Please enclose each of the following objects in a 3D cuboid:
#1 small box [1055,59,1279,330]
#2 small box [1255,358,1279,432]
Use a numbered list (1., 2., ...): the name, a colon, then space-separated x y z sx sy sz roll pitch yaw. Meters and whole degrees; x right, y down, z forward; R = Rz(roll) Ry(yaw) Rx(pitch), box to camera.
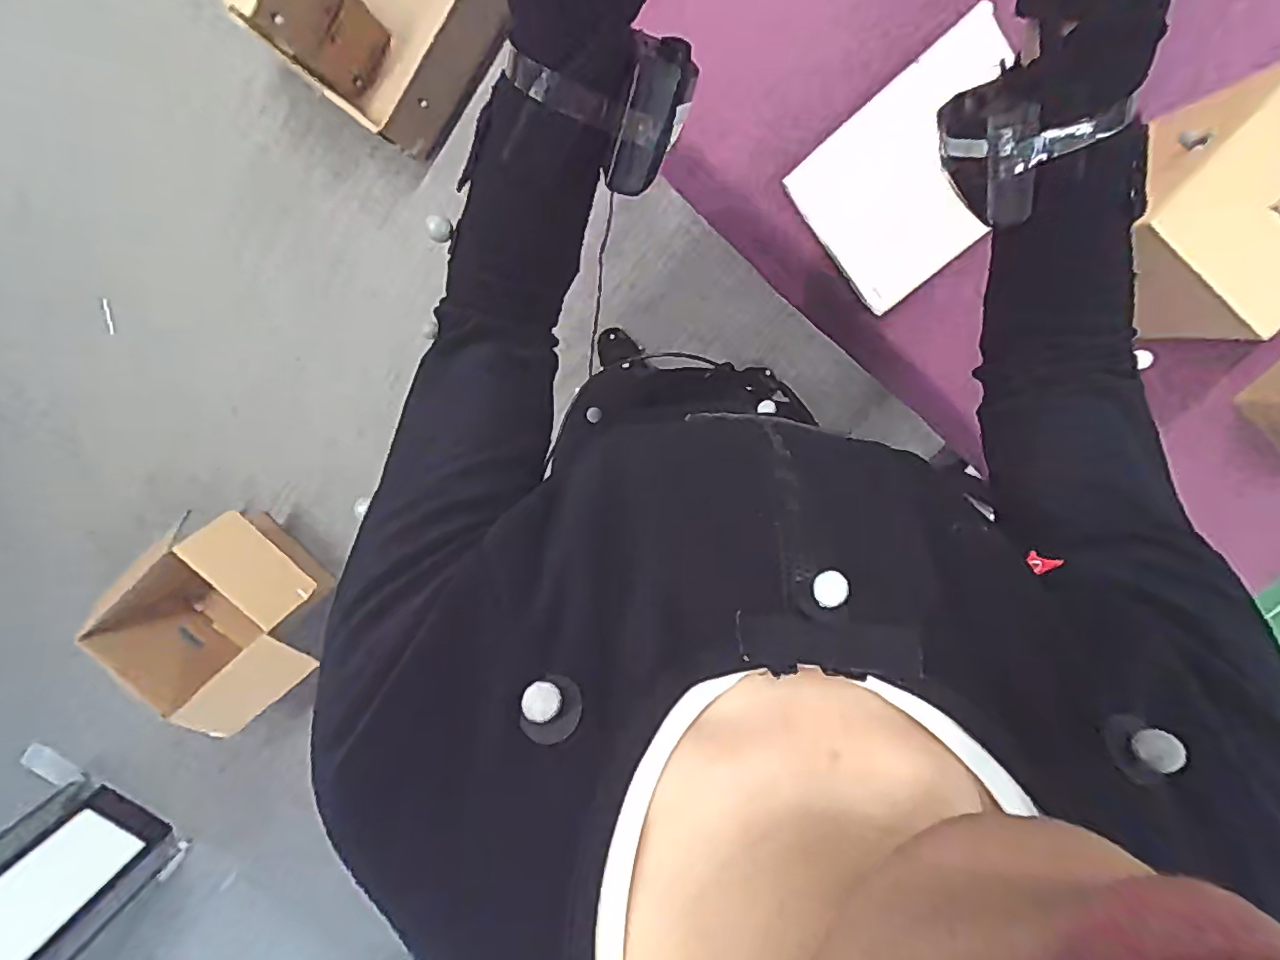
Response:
1. small box: 0.578 -0.270 0.551 0.168 0.176 0.179 39 104 -6
2. small box: 0.844 -0.094 0.579 0.168 0.176 0.179 42 103 -8
